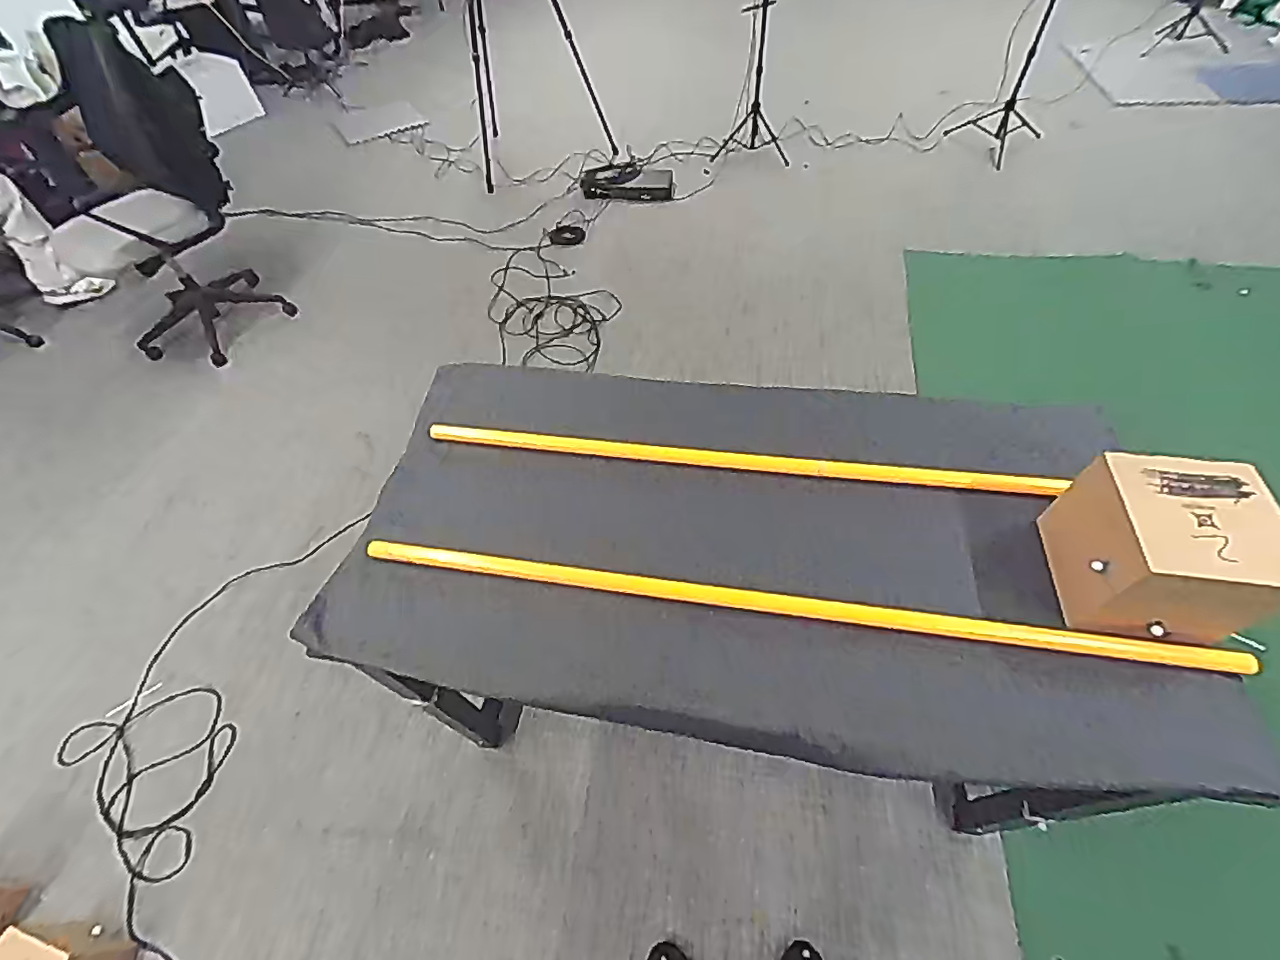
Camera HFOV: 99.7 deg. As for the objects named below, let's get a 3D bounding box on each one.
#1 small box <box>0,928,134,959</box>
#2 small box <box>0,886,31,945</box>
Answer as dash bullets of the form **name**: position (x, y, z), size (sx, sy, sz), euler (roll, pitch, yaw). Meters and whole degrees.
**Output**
- **small box**: position (-1.183, 1.023, 1.068), size (0.168, 0.176, 0.179), euler (10, 54, 12)
- **small box**: position (-1.486, 0.961, 1.141), size (0.179, 0.176, 0.168), euler (3, 54, 7)
